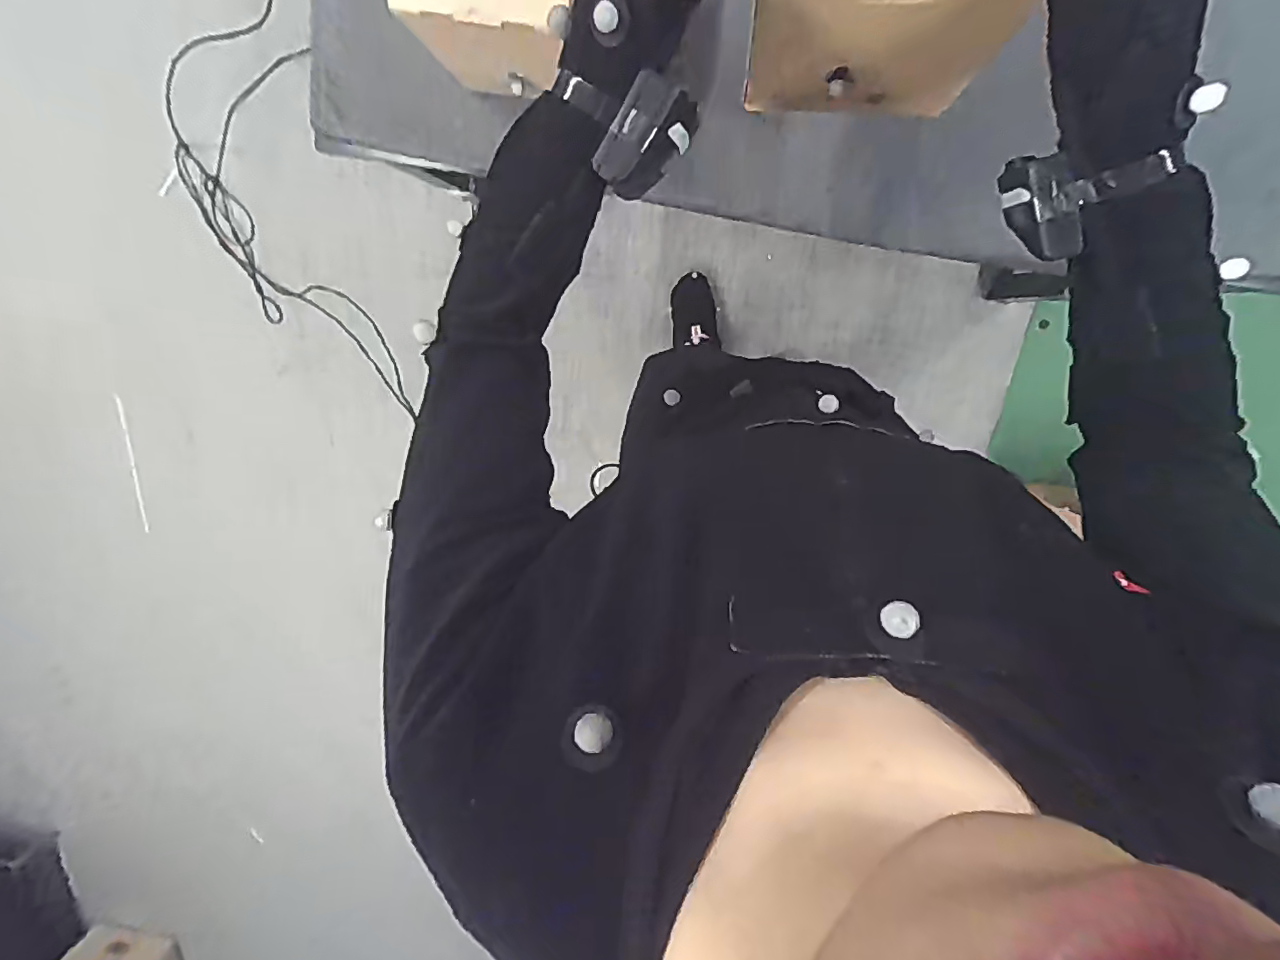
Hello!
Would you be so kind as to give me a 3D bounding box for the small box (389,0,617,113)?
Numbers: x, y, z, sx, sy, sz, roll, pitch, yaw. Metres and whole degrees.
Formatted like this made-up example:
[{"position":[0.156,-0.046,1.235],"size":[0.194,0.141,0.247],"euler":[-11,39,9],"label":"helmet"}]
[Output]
[{"position":[-0.118,-0.496,0.524],"size":[0.168,0.176,0.179],"euler":[11,107,5],"label":"small box"}]
